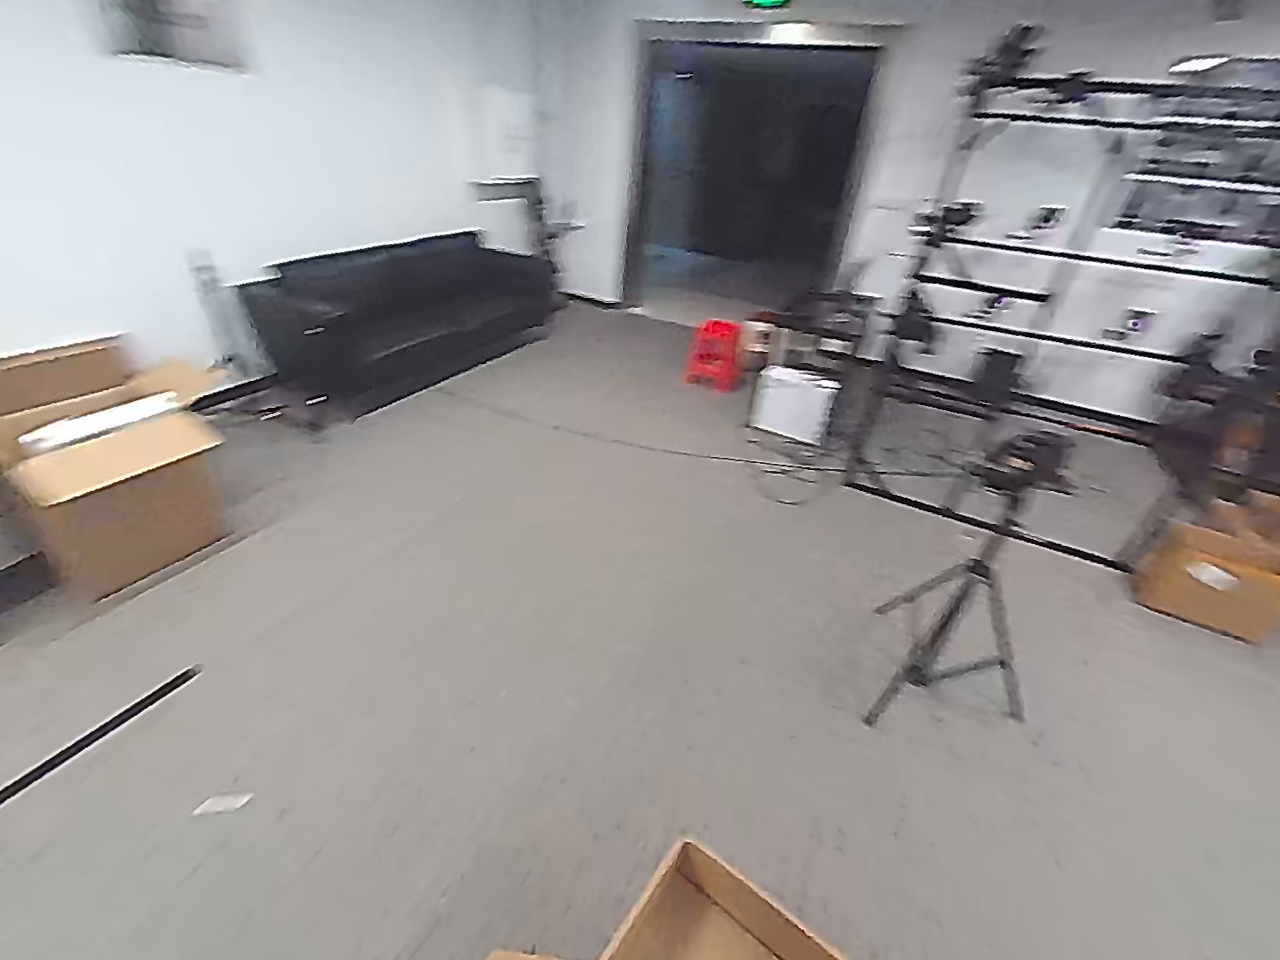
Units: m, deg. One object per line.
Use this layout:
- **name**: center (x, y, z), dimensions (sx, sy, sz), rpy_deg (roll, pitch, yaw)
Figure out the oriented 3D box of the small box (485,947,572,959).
- **small box**: center (-0.108, 0.631, 0.573), dimensions (0.179, 0.176, 0.168), rpy_deg (17, 38, -9)
